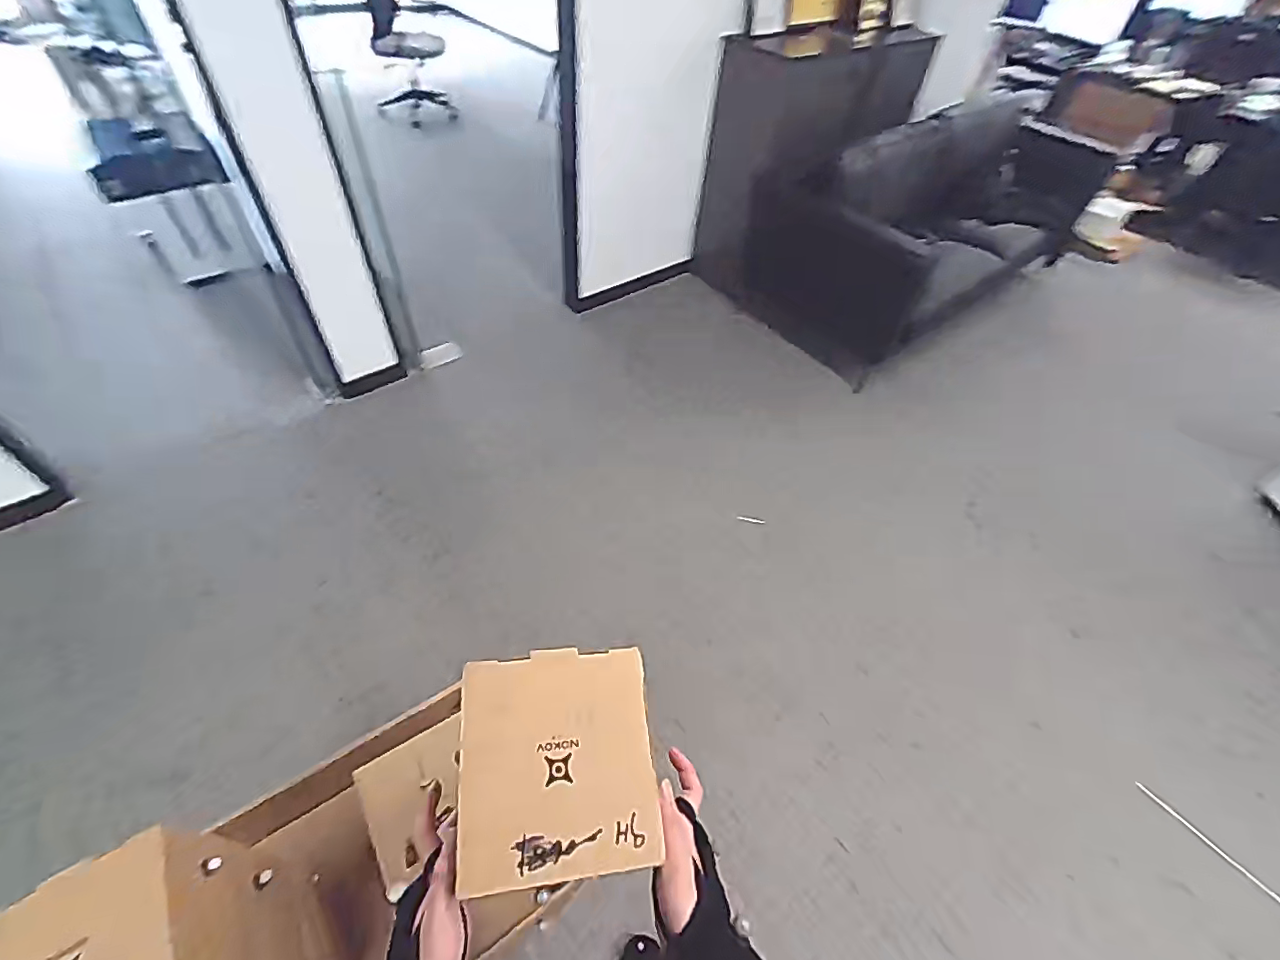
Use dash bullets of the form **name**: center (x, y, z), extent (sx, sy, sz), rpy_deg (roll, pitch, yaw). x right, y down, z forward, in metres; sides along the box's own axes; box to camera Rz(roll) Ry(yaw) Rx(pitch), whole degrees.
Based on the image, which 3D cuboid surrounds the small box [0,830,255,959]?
- **small box**: center (-0.534, 0.511, 0.561), extent (0.168, 0.176, 0.179), rpy_deg (-25, 56, -23)

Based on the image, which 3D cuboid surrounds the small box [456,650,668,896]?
- **small box**: center (-0.075, 0.278, 0.525), extent (0.168, 0.176, 0.179), rpy_deg (-1, 59, -9)

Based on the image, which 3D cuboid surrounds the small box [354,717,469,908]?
- **small box**: center (-0.297, 0.498, 0.811), extent (0.168, 0.176, 0.179), rpy_deg (-24, 56, -24)
